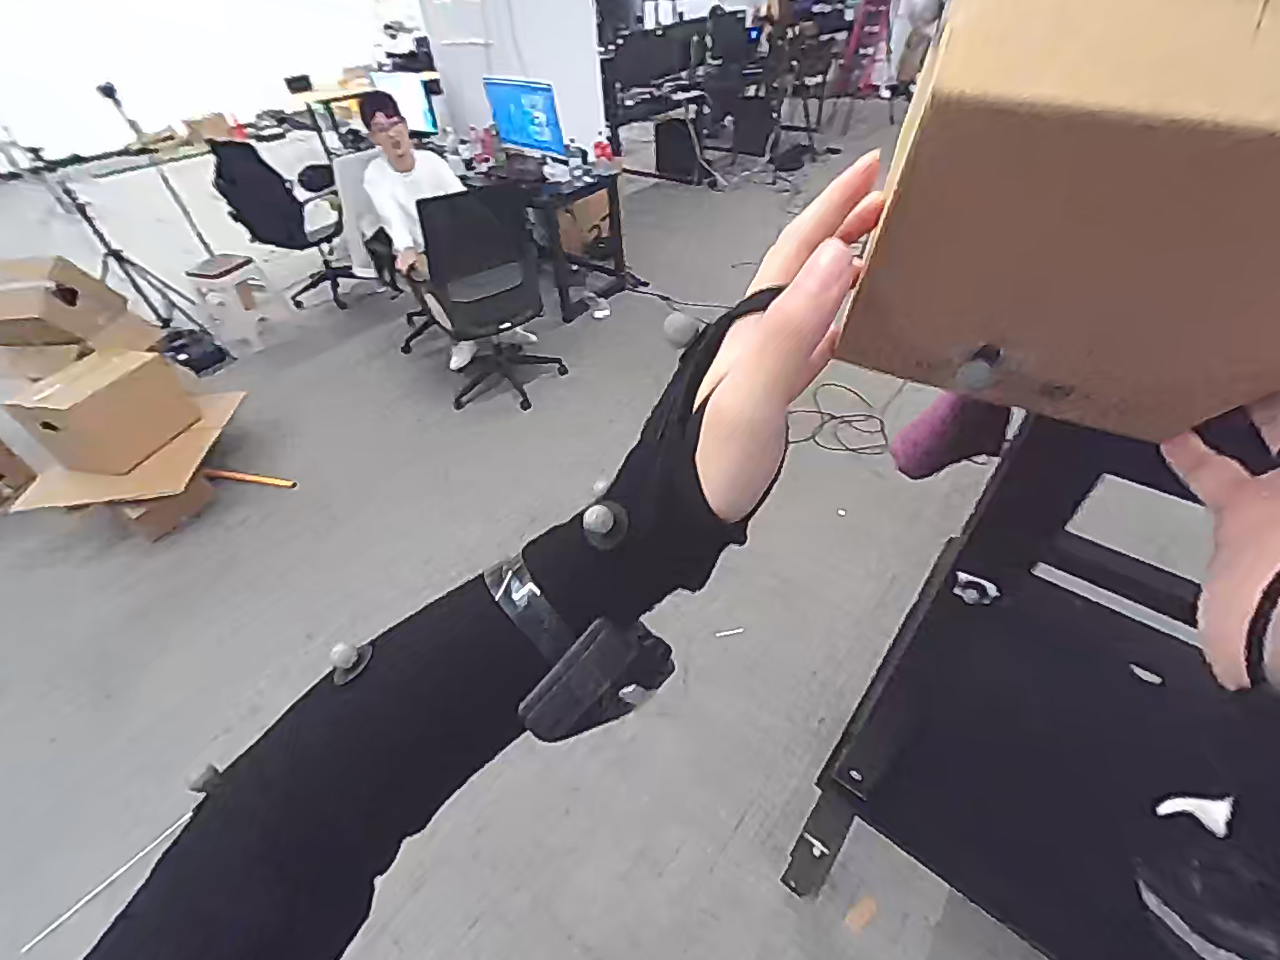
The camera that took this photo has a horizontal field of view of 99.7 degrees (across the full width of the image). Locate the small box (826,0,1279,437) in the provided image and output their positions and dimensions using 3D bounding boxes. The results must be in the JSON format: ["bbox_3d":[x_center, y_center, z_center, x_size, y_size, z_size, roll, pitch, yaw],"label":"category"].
[{"bbox_3d":[0.193,-0.142,0.235,0.168,0.176,0.179,18,79,14],"label":"small box"}]
